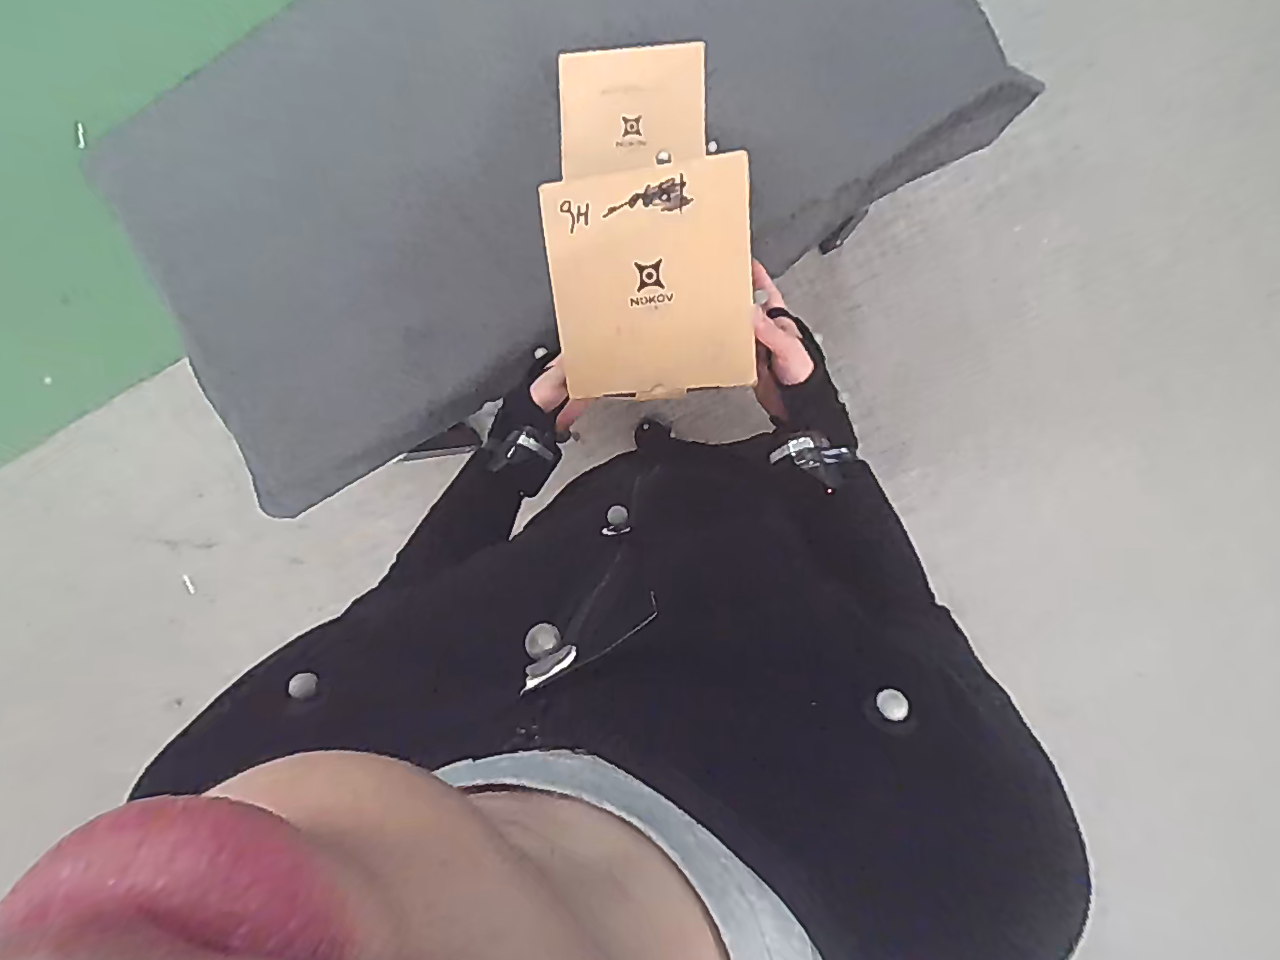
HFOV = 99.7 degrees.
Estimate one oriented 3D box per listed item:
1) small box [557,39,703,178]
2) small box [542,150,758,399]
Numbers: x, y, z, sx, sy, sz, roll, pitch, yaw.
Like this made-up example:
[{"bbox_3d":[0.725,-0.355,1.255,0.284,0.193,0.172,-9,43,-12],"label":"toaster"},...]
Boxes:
[{"bbox_3d":[-0.004,-0.404,0.687,0.168,0.176,0.179,-2,95,4],"label":"small box"},{"bbox_3d":[0.024,-0.183,0.509,0.168,0.176,0.179,-3,108,10],"label":"small box"}]
